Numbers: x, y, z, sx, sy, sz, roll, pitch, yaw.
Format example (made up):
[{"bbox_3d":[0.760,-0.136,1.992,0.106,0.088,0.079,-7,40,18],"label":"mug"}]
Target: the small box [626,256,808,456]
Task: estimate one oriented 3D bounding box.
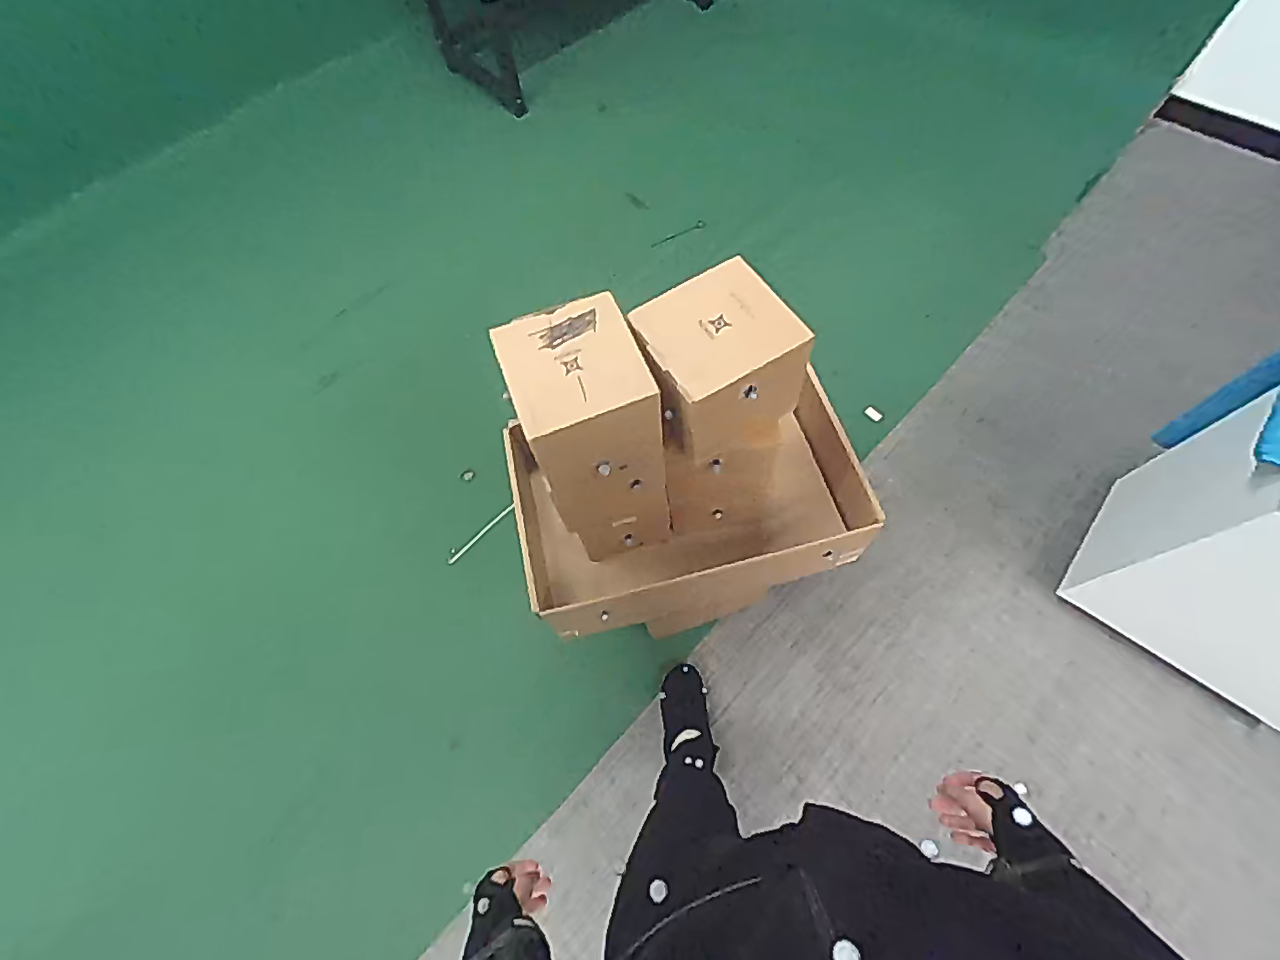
[{"bbox_3d":[0.103,-0.161,0.744,0.179,0.176,0.168,-28,65,-6],"label":"small box"}]
